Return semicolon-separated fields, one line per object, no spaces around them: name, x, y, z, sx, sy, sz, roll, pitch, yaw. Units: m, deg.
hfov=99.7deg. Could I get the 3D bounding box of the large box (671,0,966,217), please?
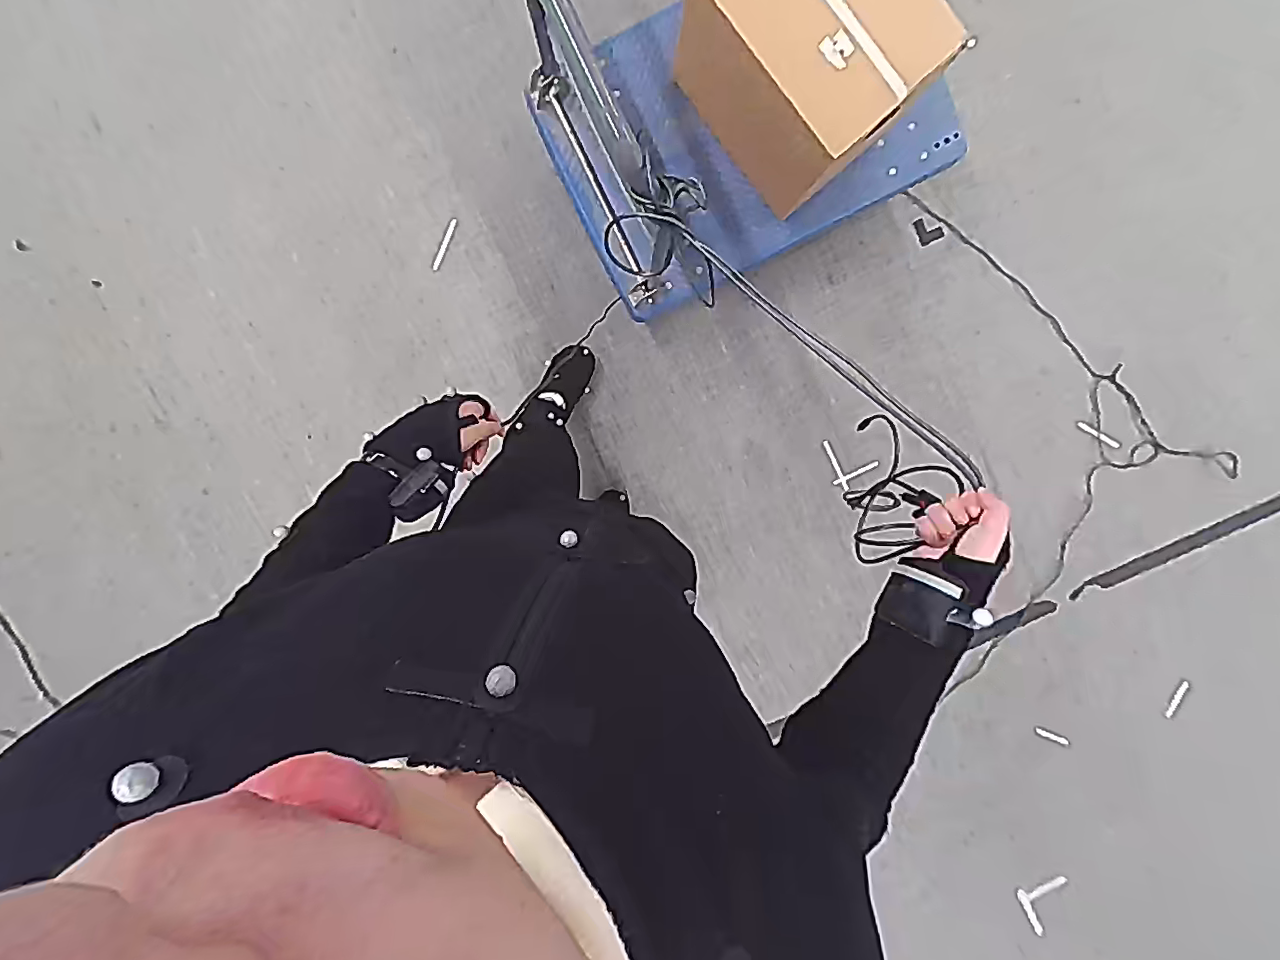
large box;0.316;-0.828;1.068;0.320;0.320;0.408;-41;97;3
